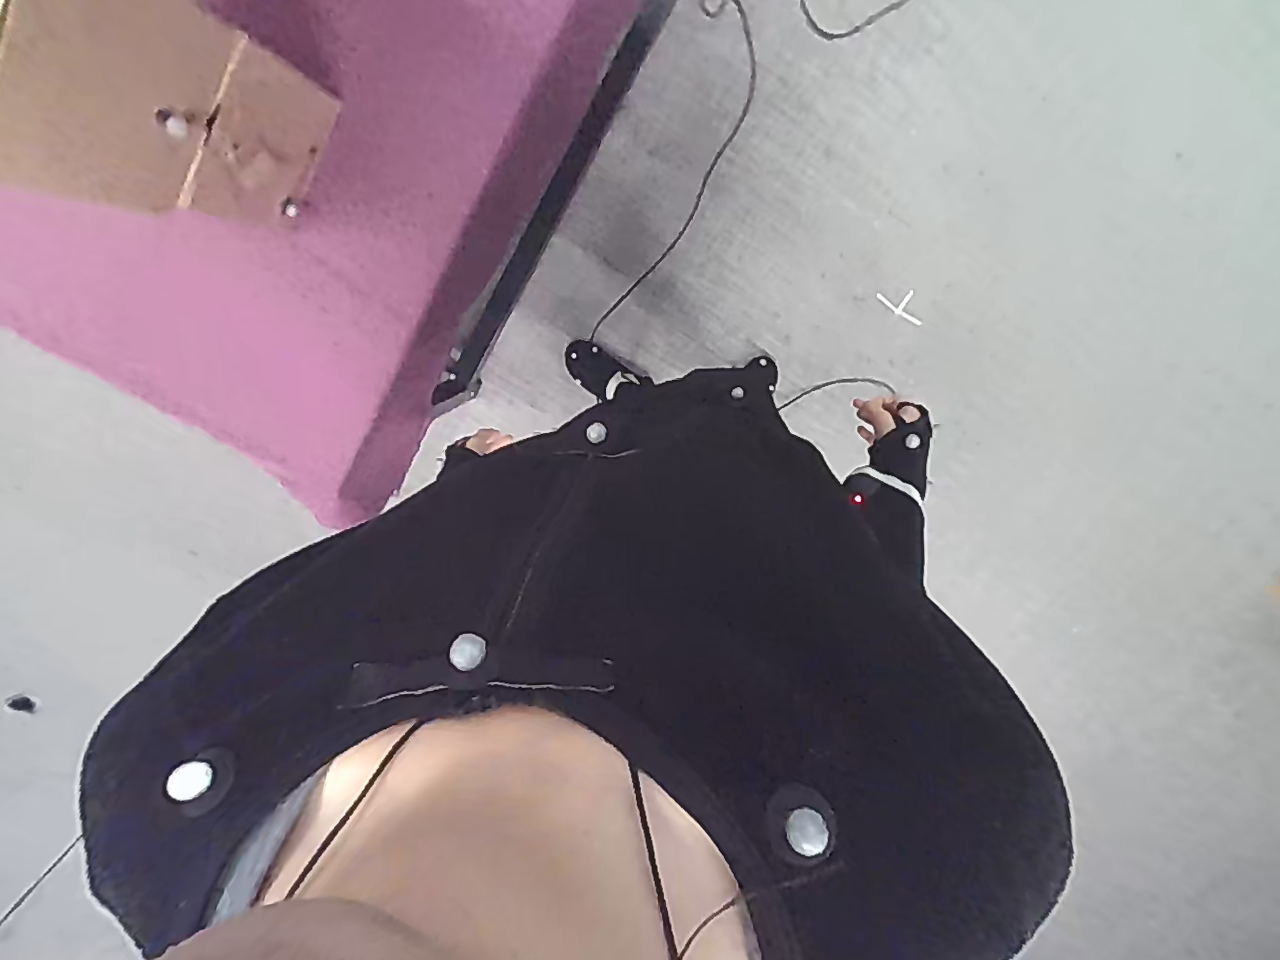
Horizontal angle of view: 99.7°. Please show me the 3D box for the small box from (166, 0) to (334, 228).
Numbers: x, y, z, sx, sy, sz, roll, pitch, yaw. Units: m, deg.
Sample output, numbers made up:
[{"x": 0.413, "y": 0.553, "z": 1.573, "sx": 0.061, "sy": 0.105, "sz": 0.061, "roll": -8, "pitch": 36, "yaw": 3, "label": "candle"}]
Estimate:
[{"x": -0.460, "y": -0.384, "z": 0.556, "sx": 0.179, "sy": 0.176, "sz": 0.168, "roll": 30, "pitch": 104, "yaw": -9, "label": "small box"}]

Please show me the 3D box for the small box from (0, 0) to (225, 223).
[{"x": -0.463, "y": -0.326, "z": 0.402, "sx": 0.168, "sy": 0.176, "sz": 0.179, "roll": 32, "pitch": 103, "yaw": -9, "label": "small box"}]
